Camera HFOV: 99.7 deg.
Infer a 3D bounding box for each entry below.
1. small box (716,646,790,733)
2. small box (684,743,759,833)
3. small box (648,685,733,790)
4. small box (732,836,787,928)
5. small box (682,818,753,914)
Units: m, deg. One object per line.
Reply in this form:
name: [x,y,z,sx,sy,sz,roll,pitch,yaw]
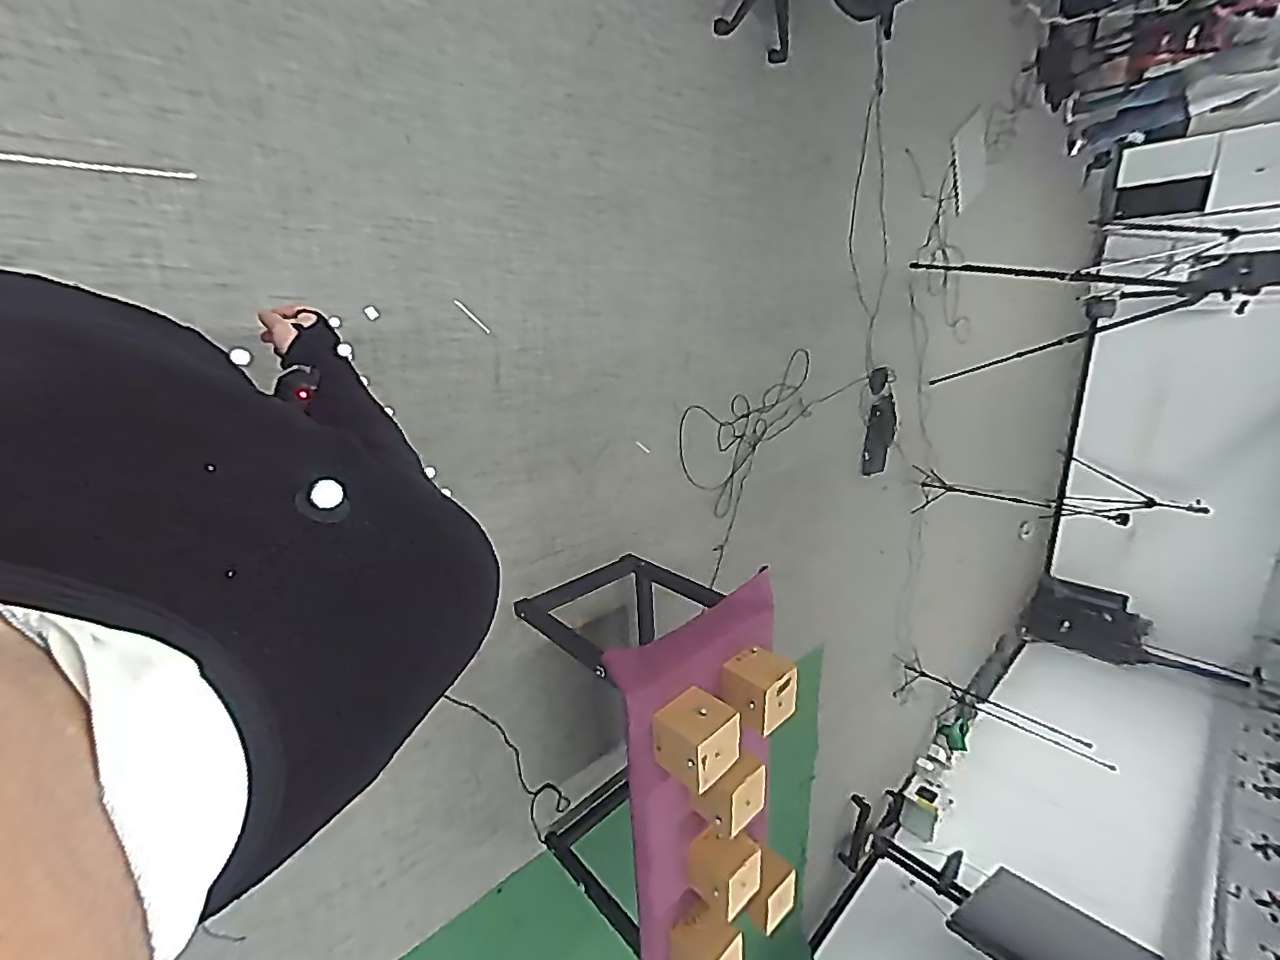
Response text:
small box: [0.355,0.651,1.713,0.168,0.176,0.179,-16,113,-40]
small box: [0.251,0.942,1.695,0.168,0.176,0.179,-16,112,-41]
small box: [0.142,0.714,1.526,0.179,0.176,0.168,-19,114,-41]
small box: [0.424,1.482,2.007,0.168,0.176,0.179,-14,109,-39]
small box: [0.253,1.258,1.788,0.168,0.176,0.179,-15,111,-40]
